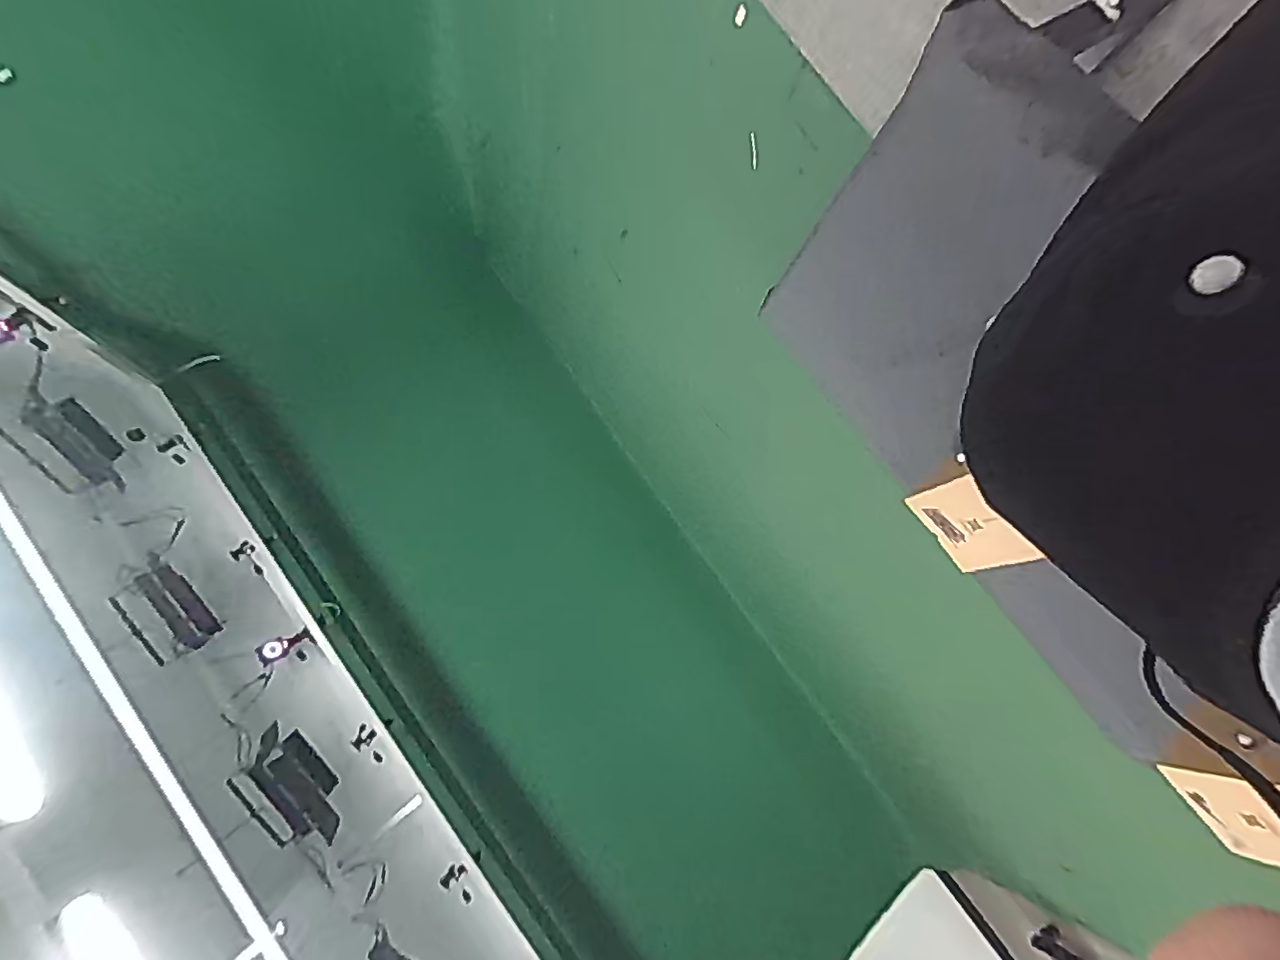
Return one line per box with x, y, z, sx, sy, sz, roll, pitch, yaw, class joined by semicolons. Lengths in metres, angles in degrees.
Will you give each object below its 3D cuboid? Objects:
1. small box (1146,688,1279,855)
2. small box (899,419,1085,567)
0.952;0.438;0.822;0.168;0.176;0.179;52;159;8;small box
0.602;0.026;0.933;0.168;0.176;0.179;52;158;6;small box
